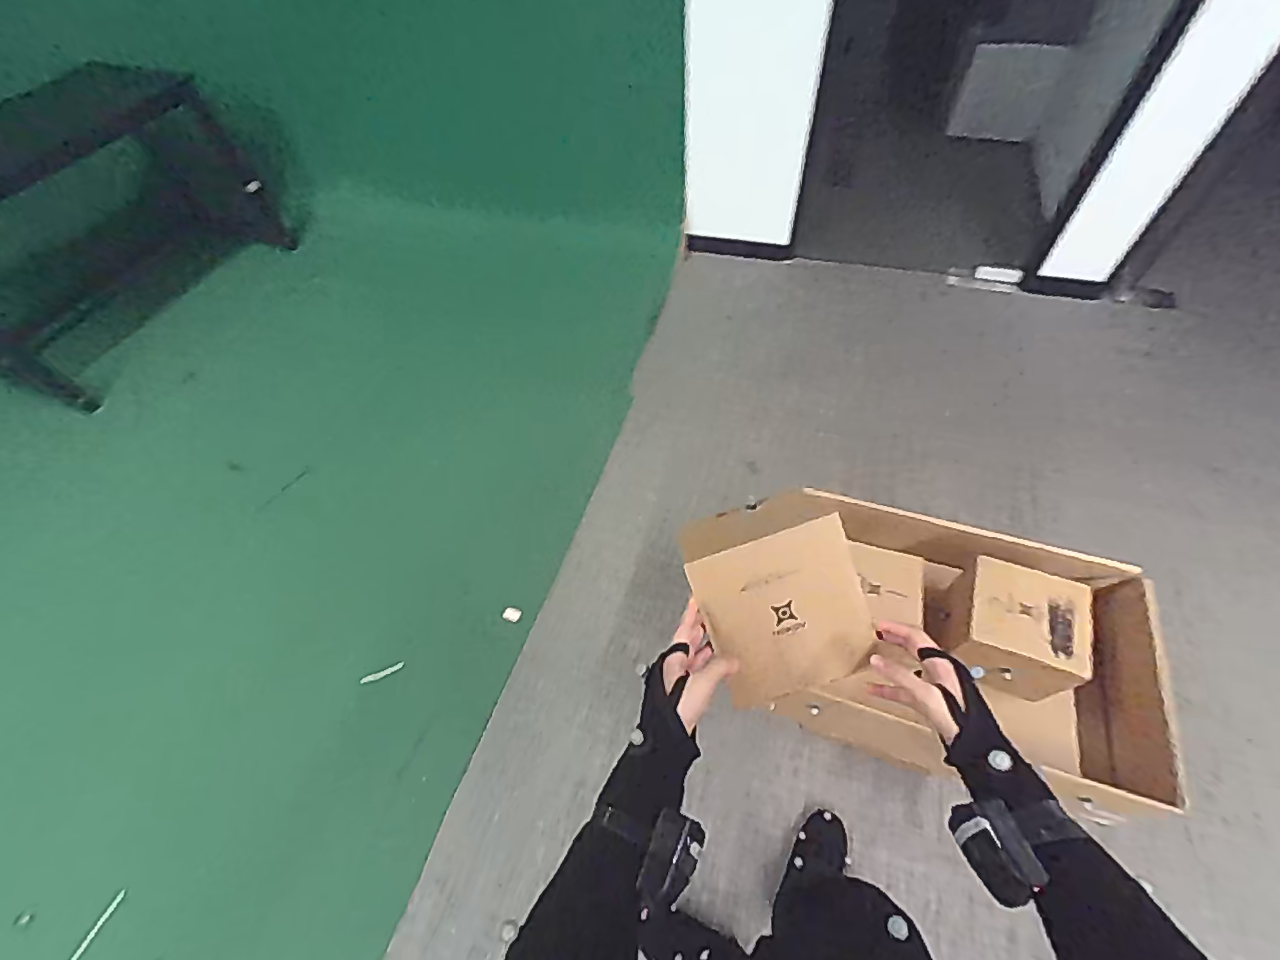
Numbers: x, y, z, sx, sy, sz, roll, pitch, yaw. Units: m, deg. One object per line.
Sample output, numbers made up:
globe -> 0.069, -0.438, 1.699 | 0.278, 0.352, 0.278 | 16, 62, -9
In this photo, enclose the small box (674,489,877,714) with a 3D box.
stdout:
small box -> 0.143, 0.128, 0.626 | 0.168, 0.176, 0.179 | -19, 99, 4
